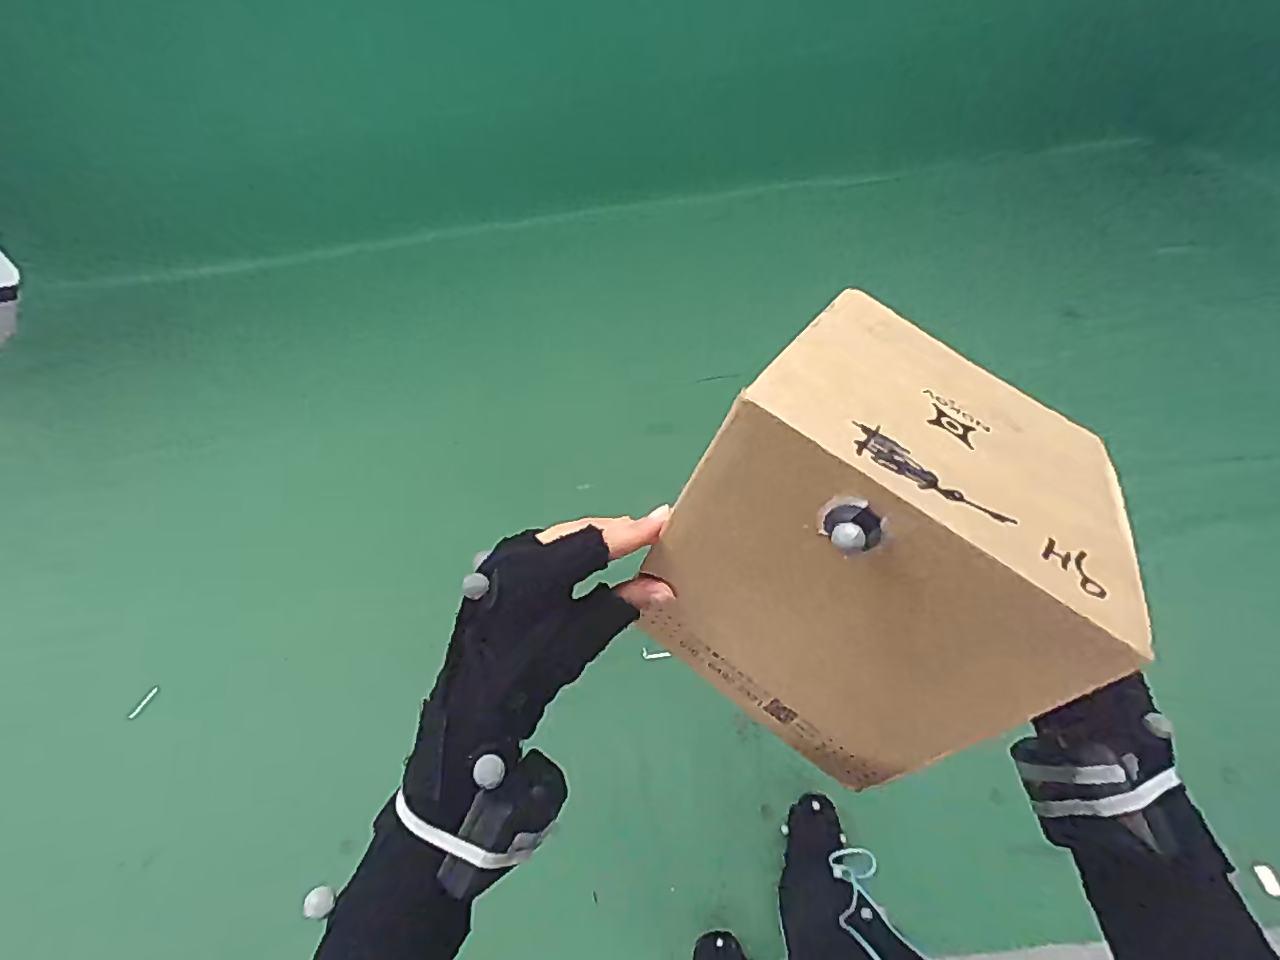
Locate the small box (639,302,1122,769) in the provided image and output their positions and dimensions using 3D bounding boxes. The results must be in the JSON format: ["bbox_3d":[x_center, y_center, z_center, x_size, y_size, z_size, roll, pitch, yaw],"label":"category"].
[{"bbox_3d":[0.122,0.026,0.322,0.168,0.176,0.179,35,42,11],"label":"small box"}]
